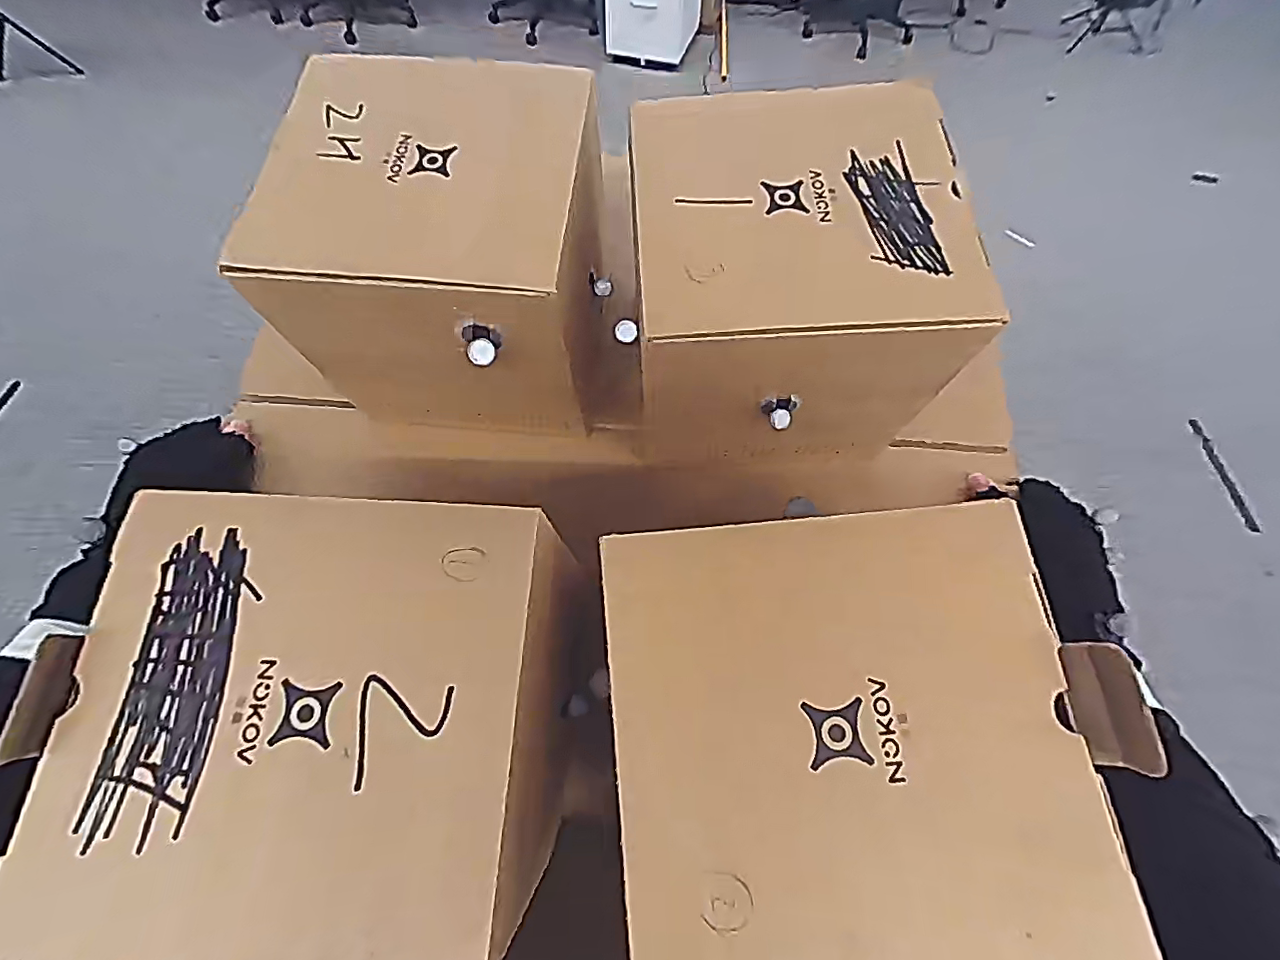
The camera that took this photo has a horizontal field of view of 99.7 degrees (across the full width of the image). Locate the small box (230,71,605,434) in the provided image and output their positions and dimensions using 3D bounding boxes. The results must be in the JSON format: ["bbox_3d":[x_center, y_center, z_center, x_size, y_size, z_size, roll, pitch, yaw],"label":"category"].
[{"bbox_3d":[-0.123,-0.144,0.385,0.179,0.176,0.168,5,69,3],"label":"small box"}]
